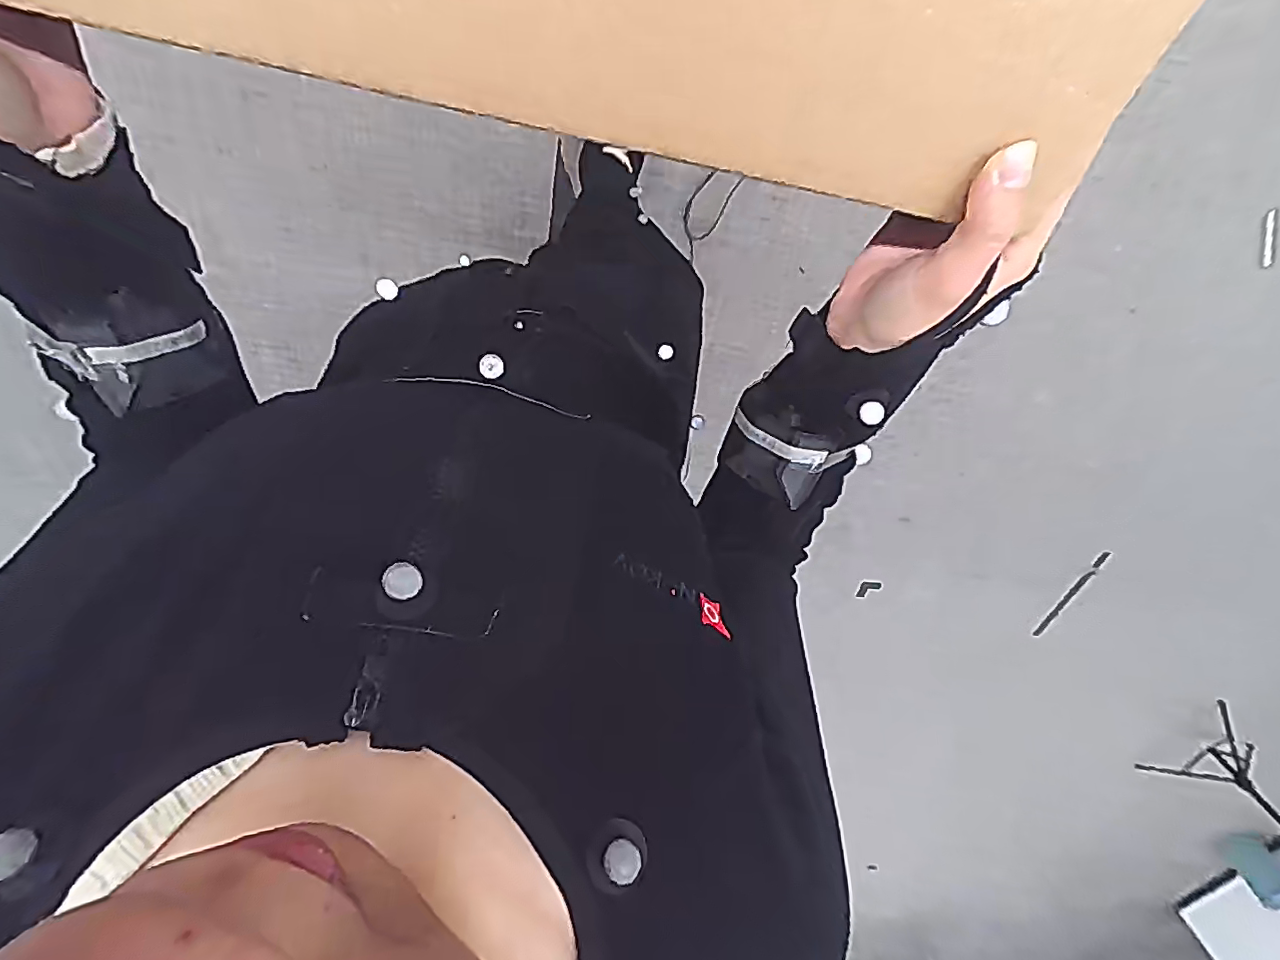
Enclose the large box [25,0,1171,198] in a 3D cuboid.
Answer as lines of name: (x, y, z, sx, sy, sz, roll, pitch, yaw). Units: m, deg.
large box: (-0.008, -0.348, 0.190, 0.408, 0.320, 0.320, 7, 137, -9)
